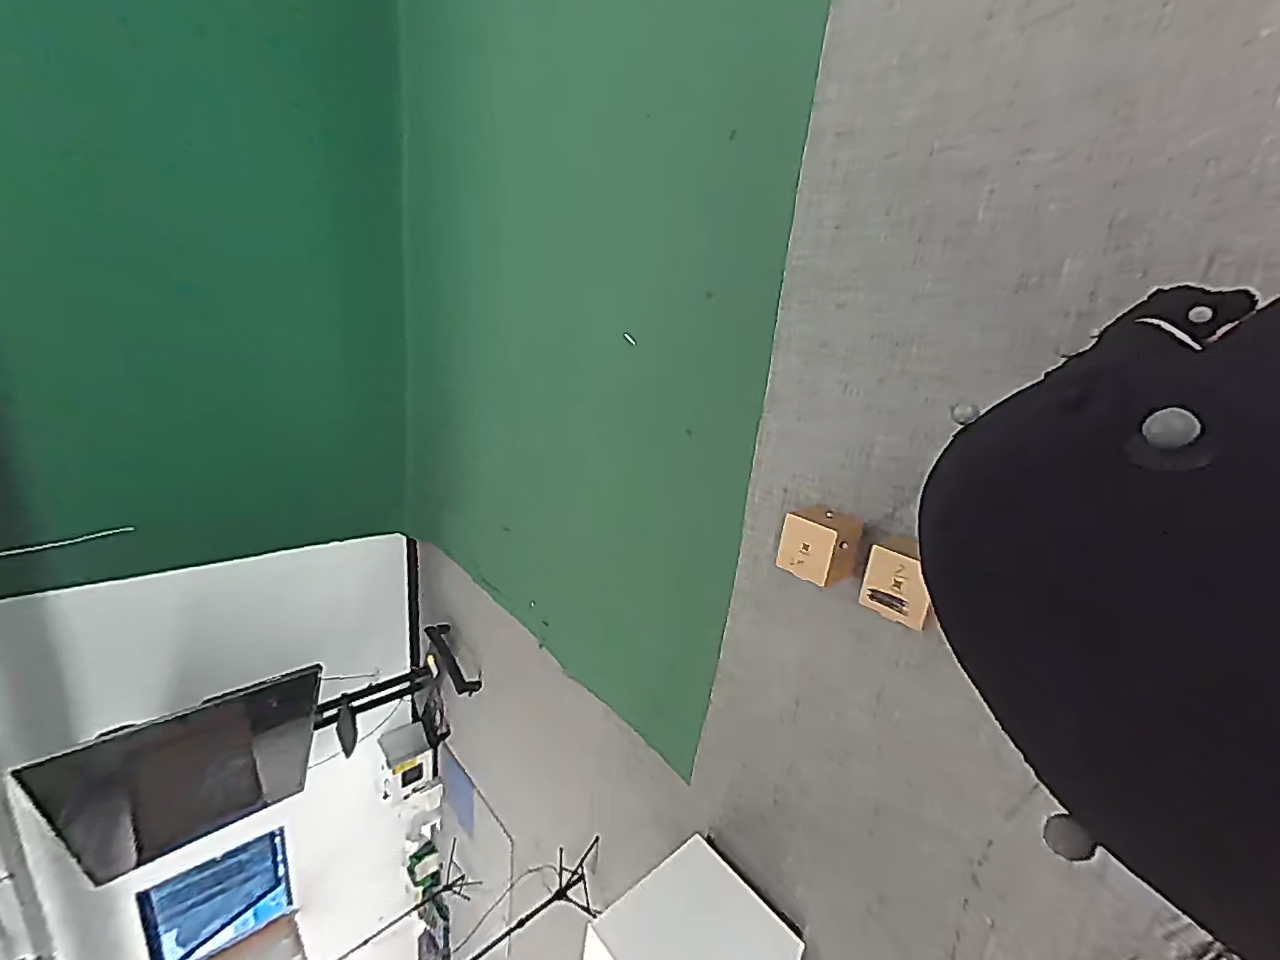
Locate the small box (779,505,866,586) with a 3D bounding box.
[{"bbox_3d":[0.539,0.183,1.590,0.168,0.176,0.179,24,114,45],"label":"small box"}]
